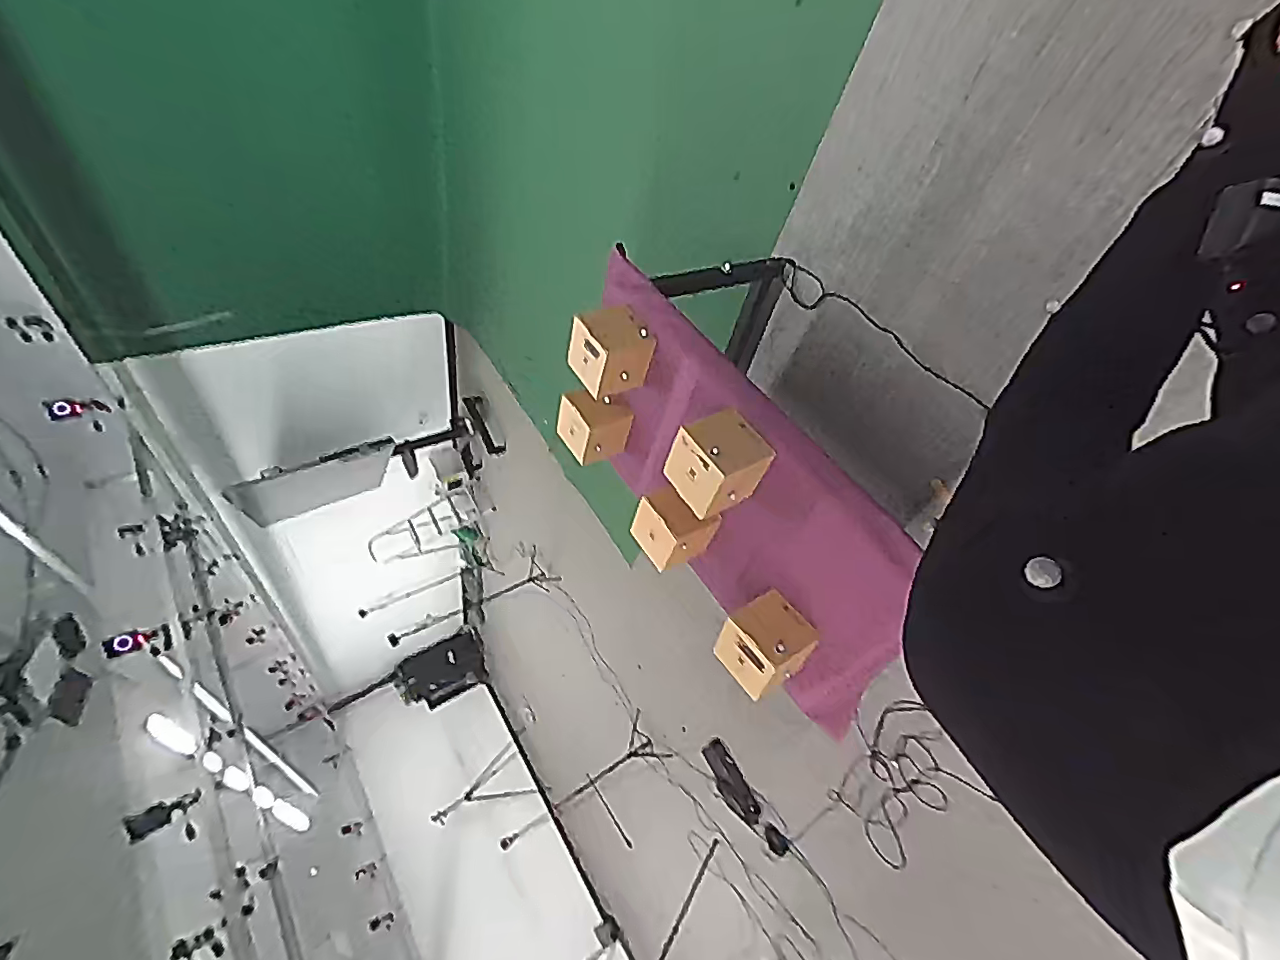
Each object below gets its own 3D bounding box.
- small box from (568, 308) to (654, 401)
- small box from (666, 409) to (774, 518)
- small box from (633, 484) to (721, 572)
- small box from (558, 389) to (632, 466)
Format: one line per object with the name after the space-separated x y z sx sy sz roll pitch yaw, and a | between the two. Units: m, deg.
-0.081 -0.359 1.524 0.168 0.176 0.179 53 148 22 | small box
0.192 -0.042 1.304 0.168 0.176 0.179 51 148 25 | small box
0.107 0.128 1.554 0.168 0.176 0.179 51 145 26 | small box
-0.145 -0.180 1.744 0.168 0.176 0.179 50 145 25 | small box
